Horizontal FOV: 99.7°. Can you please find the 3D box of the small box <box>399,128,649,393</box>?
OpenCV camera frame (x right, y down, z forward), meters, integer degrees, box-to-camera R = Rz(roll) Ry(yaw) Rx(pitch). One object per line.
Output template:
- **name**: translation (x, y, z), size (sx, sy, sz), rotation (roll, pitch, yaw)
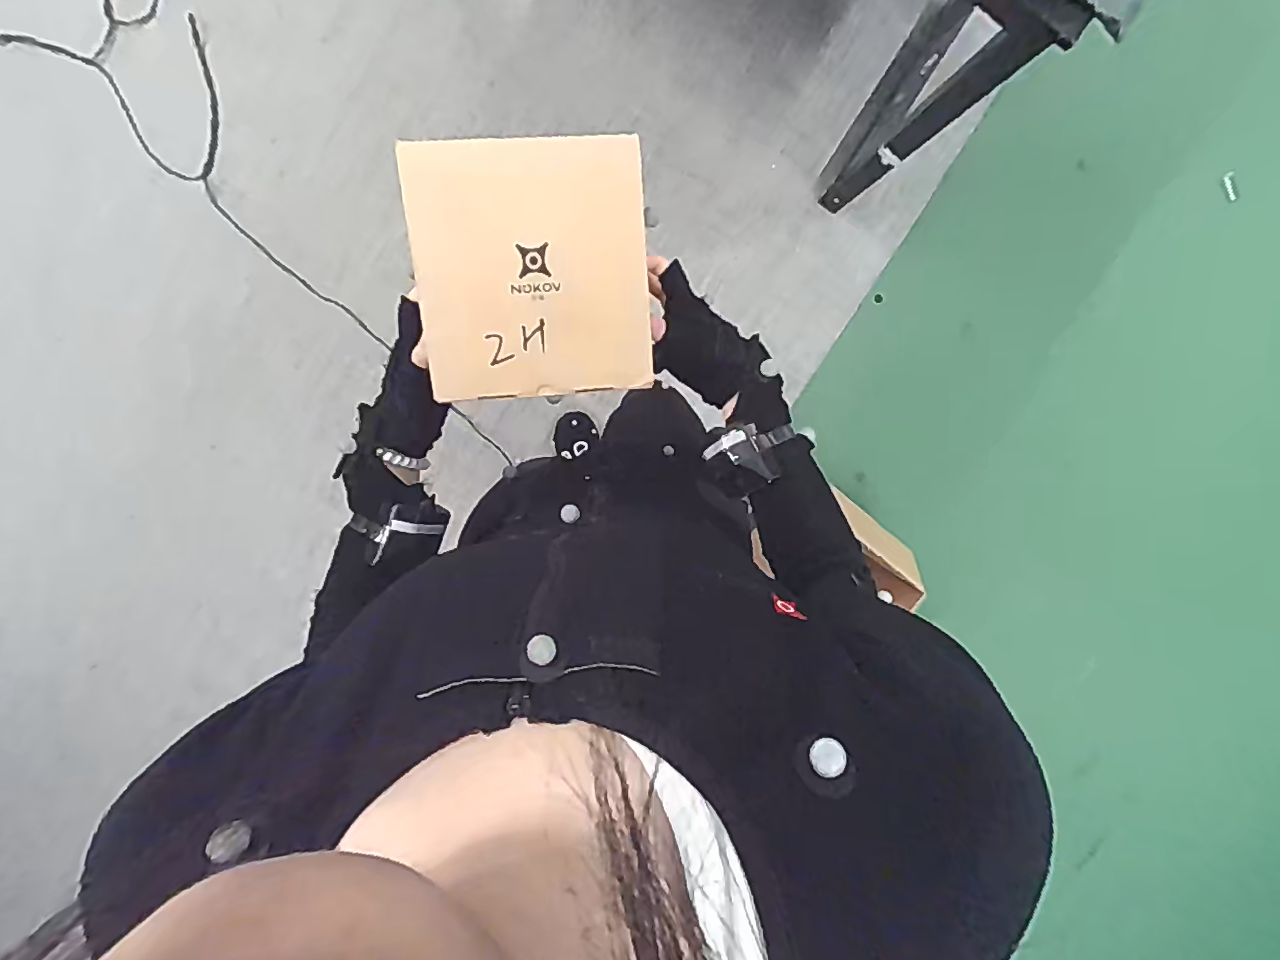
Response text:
- **small box**: translation (-0.086, -0.170, 0.462), size (0.168, 0.176, 0.179), rotation (-4, 103, -5)
